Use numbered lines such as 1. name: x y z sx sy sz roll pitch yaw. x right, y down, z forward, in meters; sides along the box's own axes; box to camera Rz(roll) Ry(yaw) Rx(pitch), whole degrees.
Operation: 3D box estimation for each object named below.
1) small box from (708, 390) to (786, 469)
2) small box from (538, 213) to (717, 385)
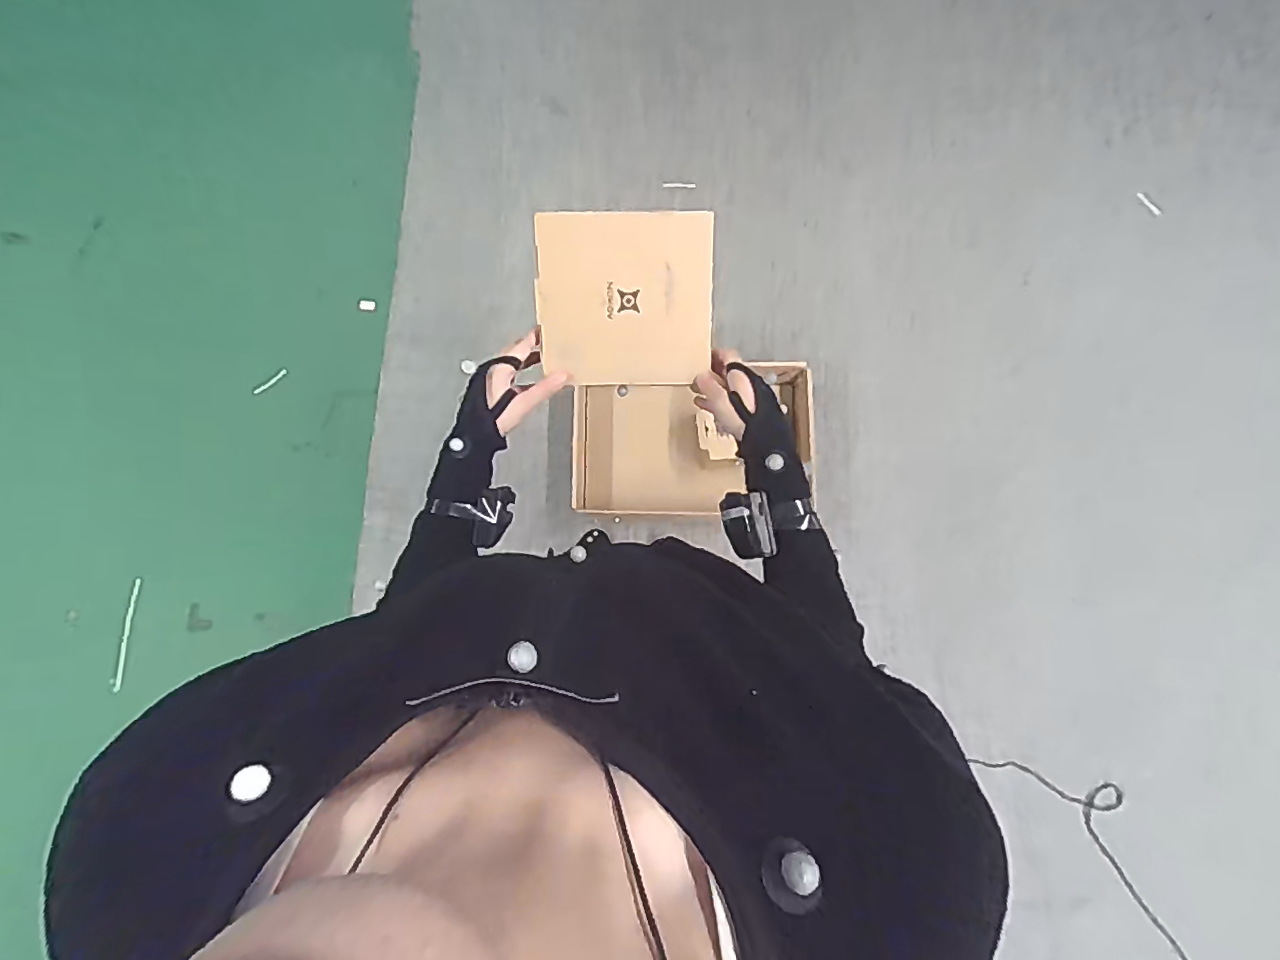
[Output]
1. small box: 0.275 -0.127 1.430 0.179 0.176 0.168 -6 82 3
2. small box: -0.010 -0.196 0.616 0.179 0.176 0.168 -1 104 1
